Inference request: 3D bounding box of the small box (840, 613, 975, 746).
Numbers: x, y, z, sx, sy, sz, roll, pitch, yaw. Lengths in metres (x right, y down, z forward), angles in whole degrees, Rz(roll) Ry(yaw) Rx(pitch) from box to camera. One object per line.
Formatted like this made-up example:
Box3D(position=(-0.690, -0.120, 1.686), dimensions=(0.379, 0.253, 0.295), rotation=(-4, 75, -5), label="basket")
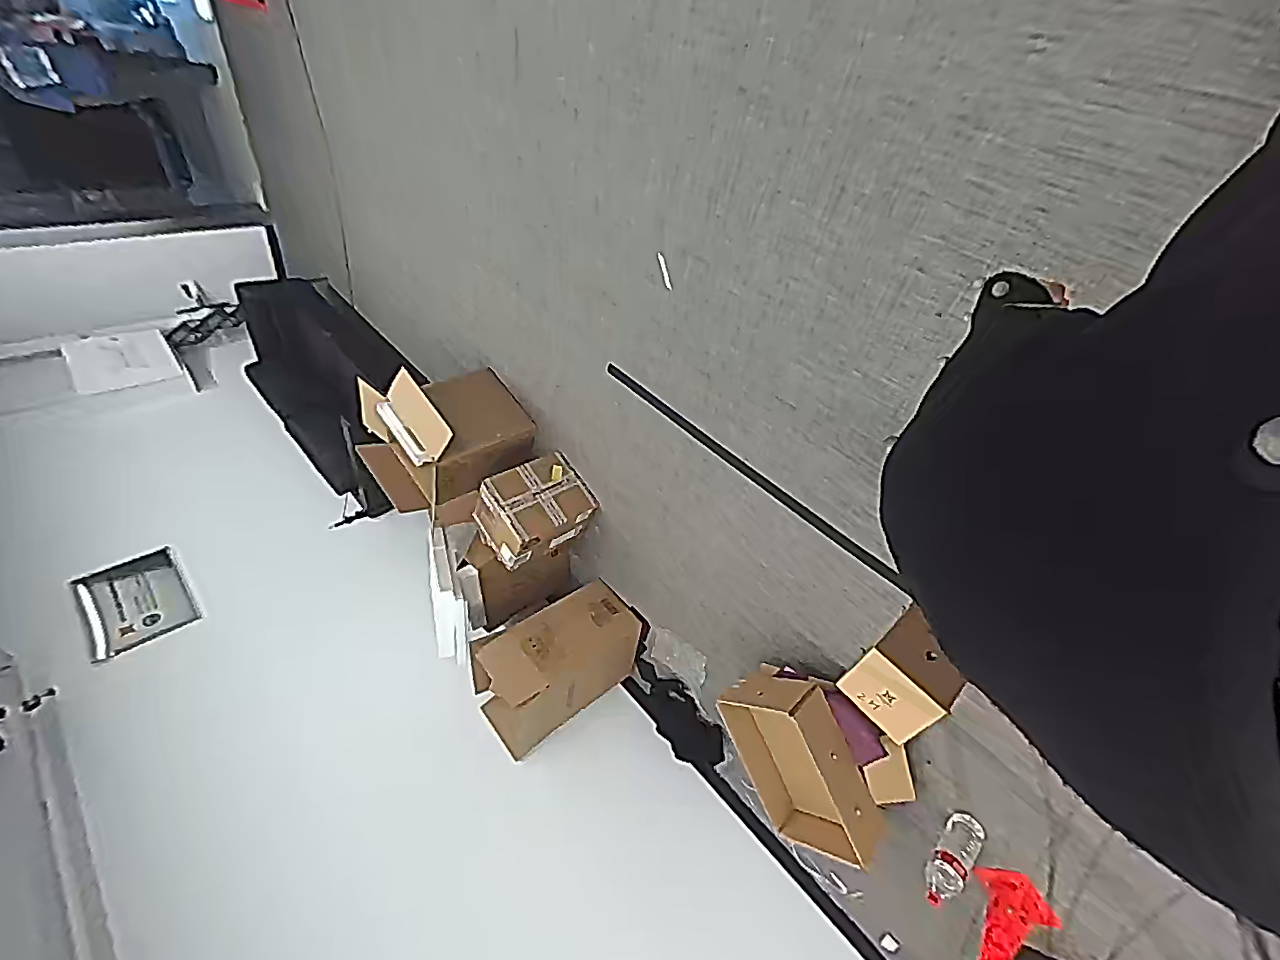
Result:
Box3D(position=(0.566, 0.413, 1.138), dimensions=(0.168, 0.176, 0.179), rotation=(44, 141, 27), label="small box")
